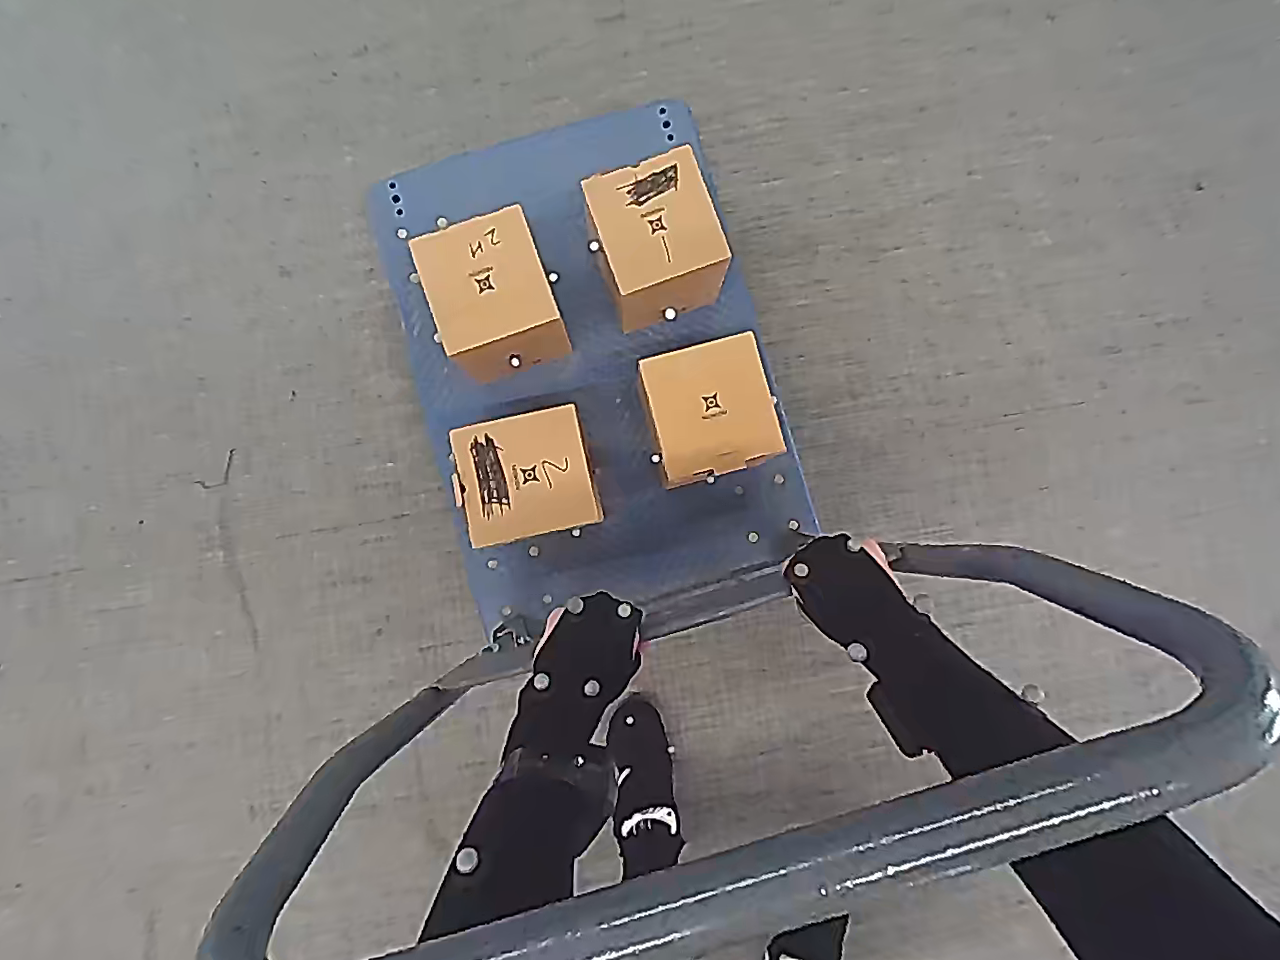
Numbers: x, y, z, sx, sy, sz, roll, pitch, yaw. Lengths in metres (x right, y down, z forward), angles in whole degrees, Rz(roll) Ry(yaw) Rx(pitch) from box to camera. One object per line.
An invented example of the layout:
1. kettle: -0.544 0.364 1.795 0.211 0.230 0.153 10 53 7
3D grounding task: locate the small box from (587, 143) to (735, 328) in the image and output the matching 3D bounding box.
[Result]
1. small box: 0.027 -0.359 0.825 0.168 0.176 0.179 -19 88 0

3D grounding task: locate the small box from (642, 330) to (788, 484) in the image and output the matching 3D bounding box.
1. small box: 0.101 -0.099 0.813 0.168 0.176 0.179 -15 87 -1

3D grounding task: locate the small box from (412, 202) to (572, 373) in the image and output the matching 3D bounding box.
1. small box: -0.211 -0.274 0.819 0.168 0.176 0.179 -19 87 -2
